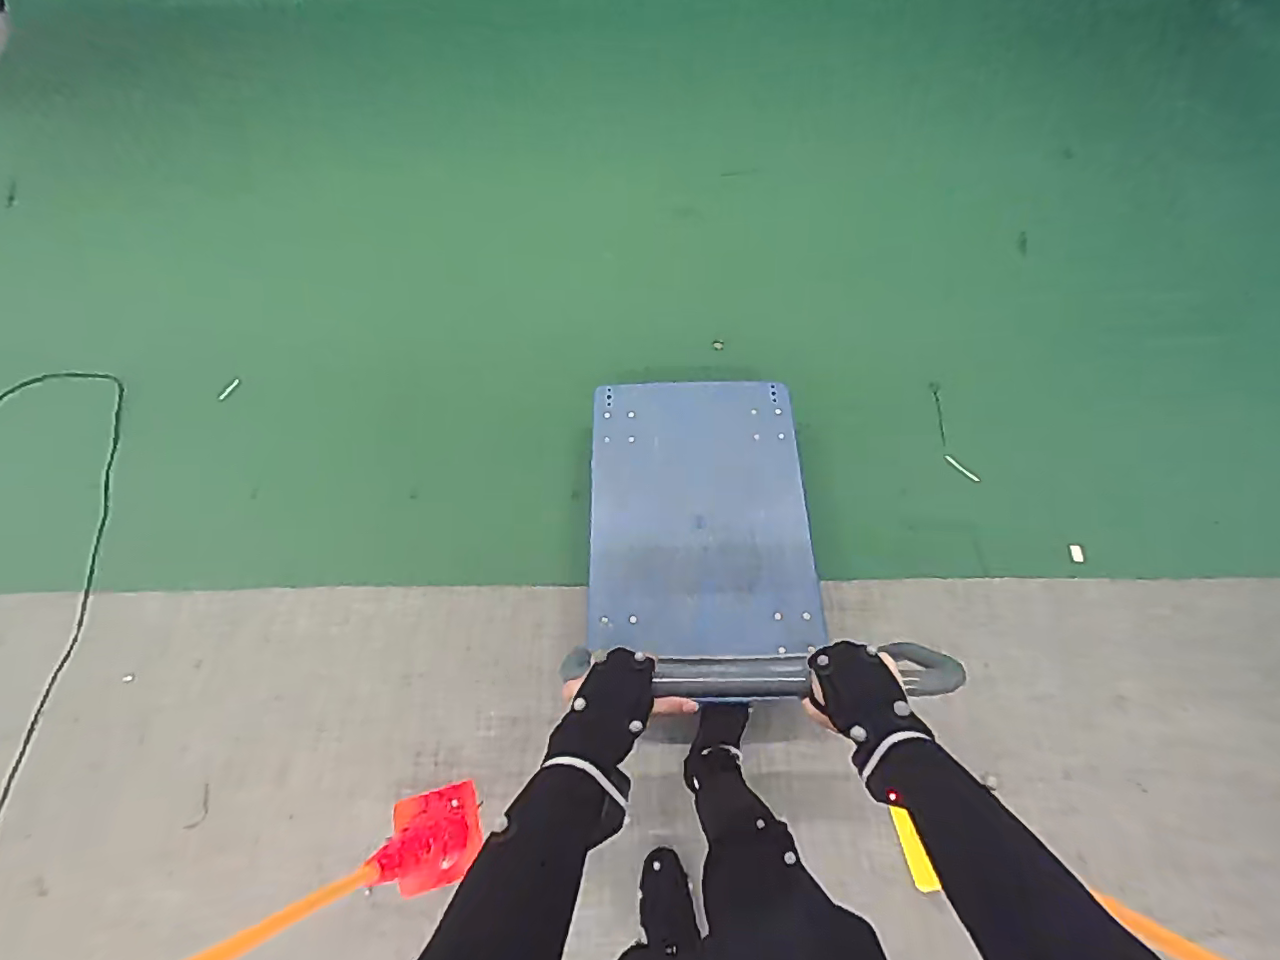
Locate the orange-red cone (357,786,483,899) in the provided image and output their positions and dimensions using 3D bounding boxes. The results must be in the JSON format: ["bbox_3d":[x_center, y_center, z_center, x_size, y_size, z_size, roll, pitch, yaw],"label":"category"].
[{"bbox_3d":[-0.482,0.780,1.121,0.199,0.360,0.198,-15,65,-4],"label":"orange-red cone"}]
